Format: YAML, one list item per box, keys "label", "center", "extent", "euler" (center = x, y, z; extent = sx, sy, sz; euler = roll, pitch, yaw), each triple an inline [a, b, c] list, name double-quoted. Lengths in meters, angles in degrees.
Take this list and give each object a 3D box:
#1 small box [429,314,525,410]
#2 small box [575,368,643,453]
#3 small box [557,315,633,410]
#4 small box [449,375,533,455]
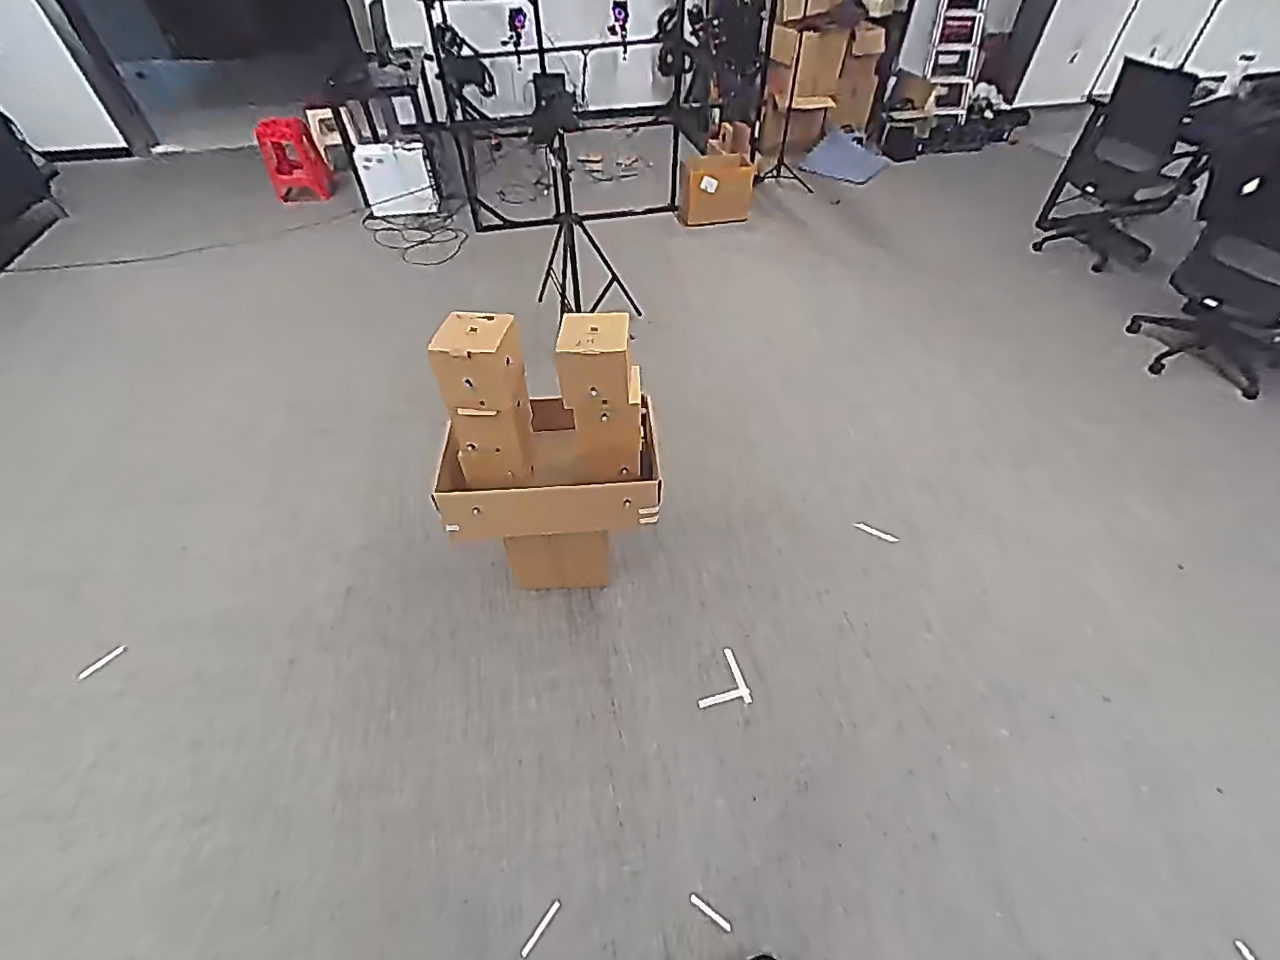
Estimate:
- label: "small box"
  center: [-0.397, -0.293, 1.352]
  extent: [0.168, 0.176, 0.179]
  euler: [5, 48, 5]
- label: "small box"
  center: [-0.081, -0.189, 1.479]
  extent: [0.179, 0.176, 0.168]
  euler: [-2, 46, 0]
- label: "small box"
  center: [-0.106, -0.295, 1.354]
  extent: [0.168, 0.176, 0.179]
  euler: [0, 47, 3]
- label: "small box"
  center: [-0.397, -0.184, 1.476]
  extent: [0.168, 0.176, 0.179]
  euler: [2, 46, 3]
